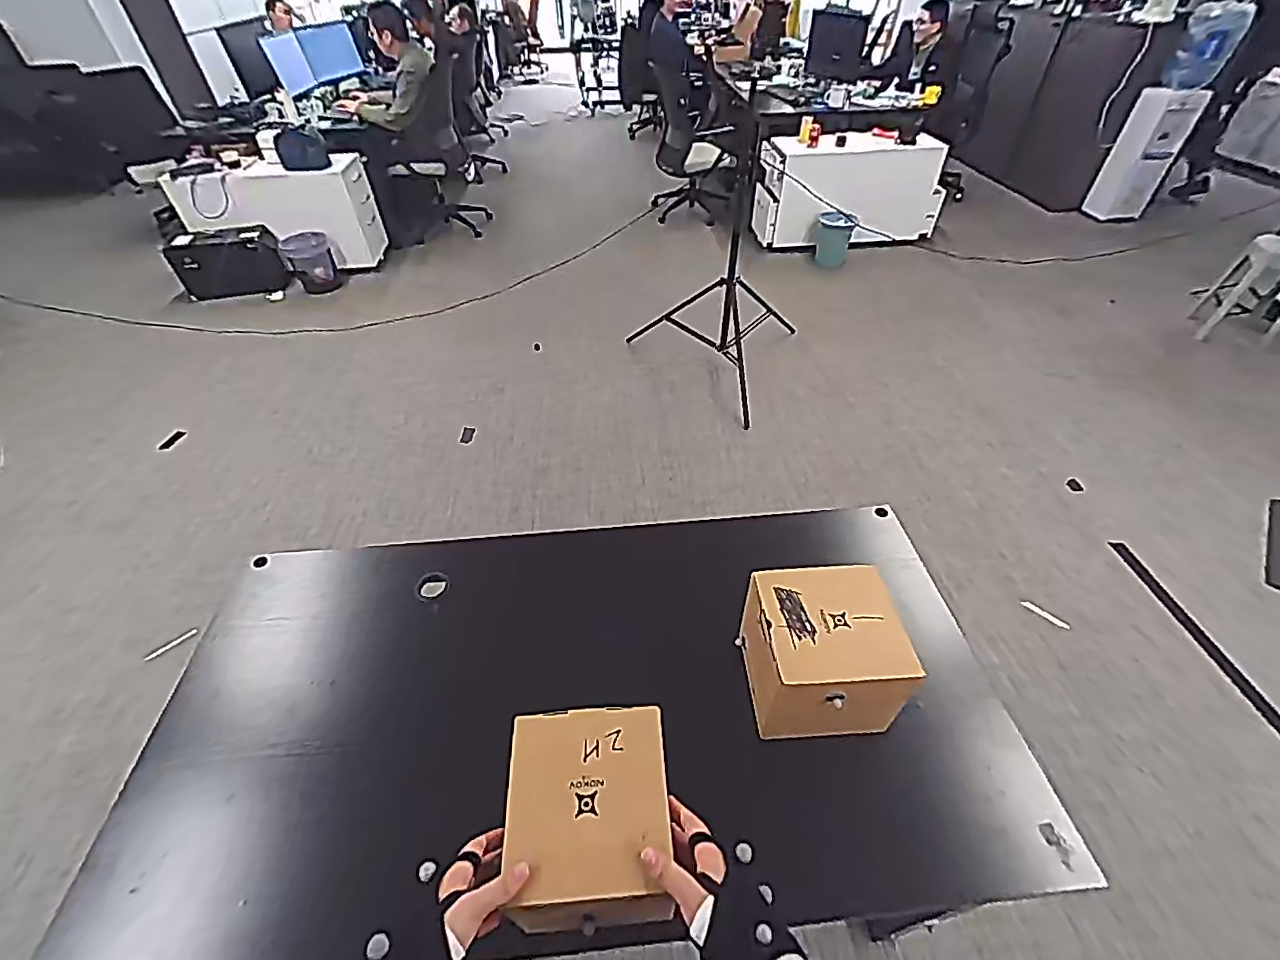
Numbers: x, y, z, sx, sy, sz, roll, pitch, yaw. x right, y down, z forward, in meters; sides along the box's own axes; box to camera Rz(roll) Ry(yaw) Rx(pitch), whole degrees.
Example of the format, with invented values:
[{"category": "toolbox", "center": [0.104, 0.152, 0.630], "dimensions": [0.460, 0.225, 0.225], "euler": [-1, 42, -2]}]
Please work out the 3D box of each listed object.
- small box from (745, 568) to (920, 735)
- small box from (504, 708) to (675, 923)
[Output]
[{"category": "small box", "center": [0.249, 0.242, 0.757], "dimensions": [0.179, 0.176, 0.168], "euler": [-3, 44, -2]}, {"category": "small box", "center": [-0.049, 0.386, 0.619], "dimensions": [0.168, 0.176, 0.179], "euler": [-3, 44, -2]}]
